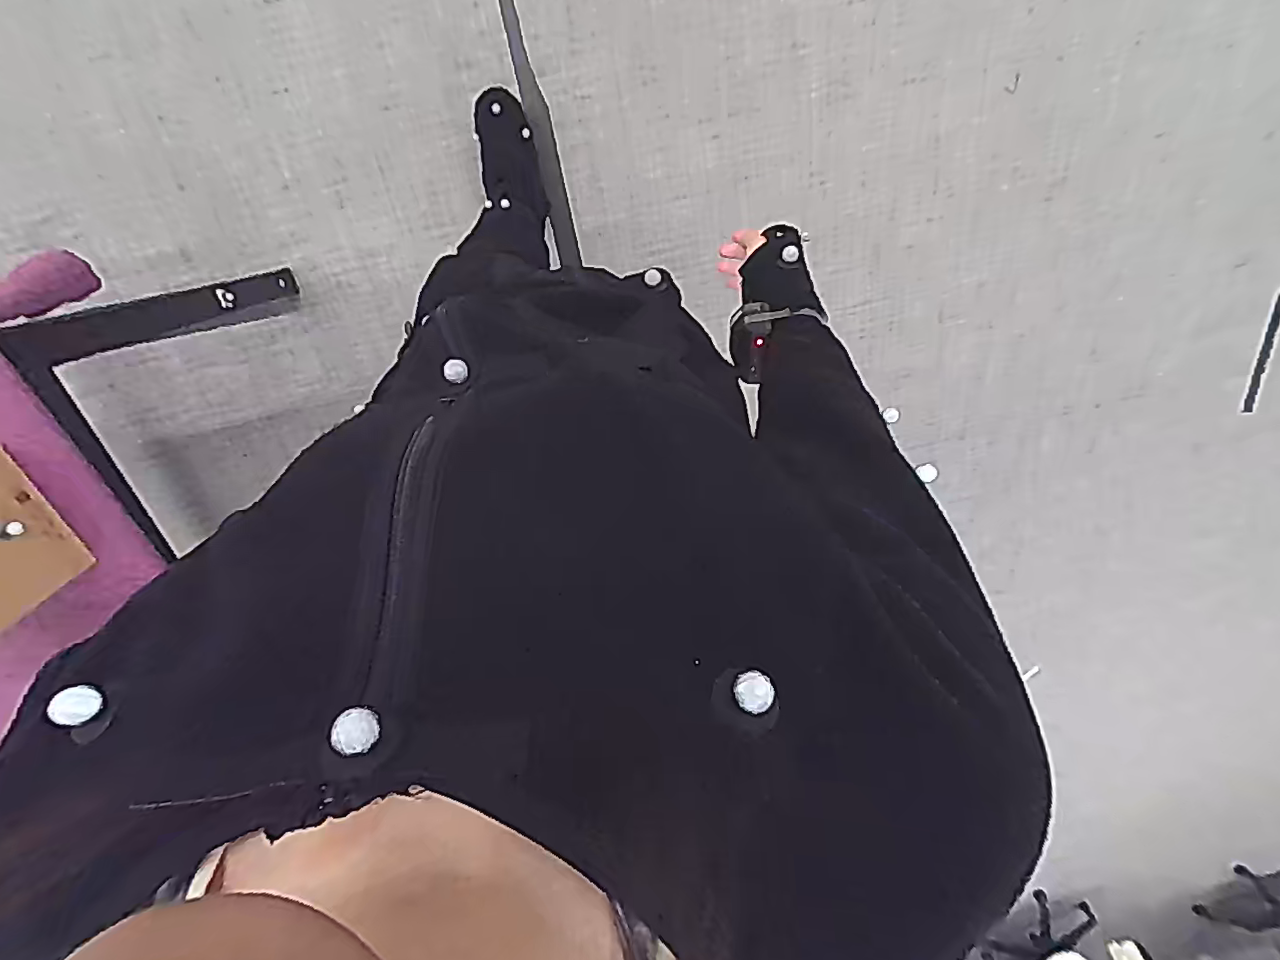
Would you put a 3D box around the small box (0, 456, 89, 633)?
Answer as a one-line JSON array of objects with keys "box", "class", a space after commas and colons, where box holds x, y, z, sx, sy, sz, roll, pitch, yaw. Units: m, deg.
[{"box": [-0.750, 0.091, 0.549, 0.179, 0.176, 0.168, -12, 118, 0], "class": "small box"}]
